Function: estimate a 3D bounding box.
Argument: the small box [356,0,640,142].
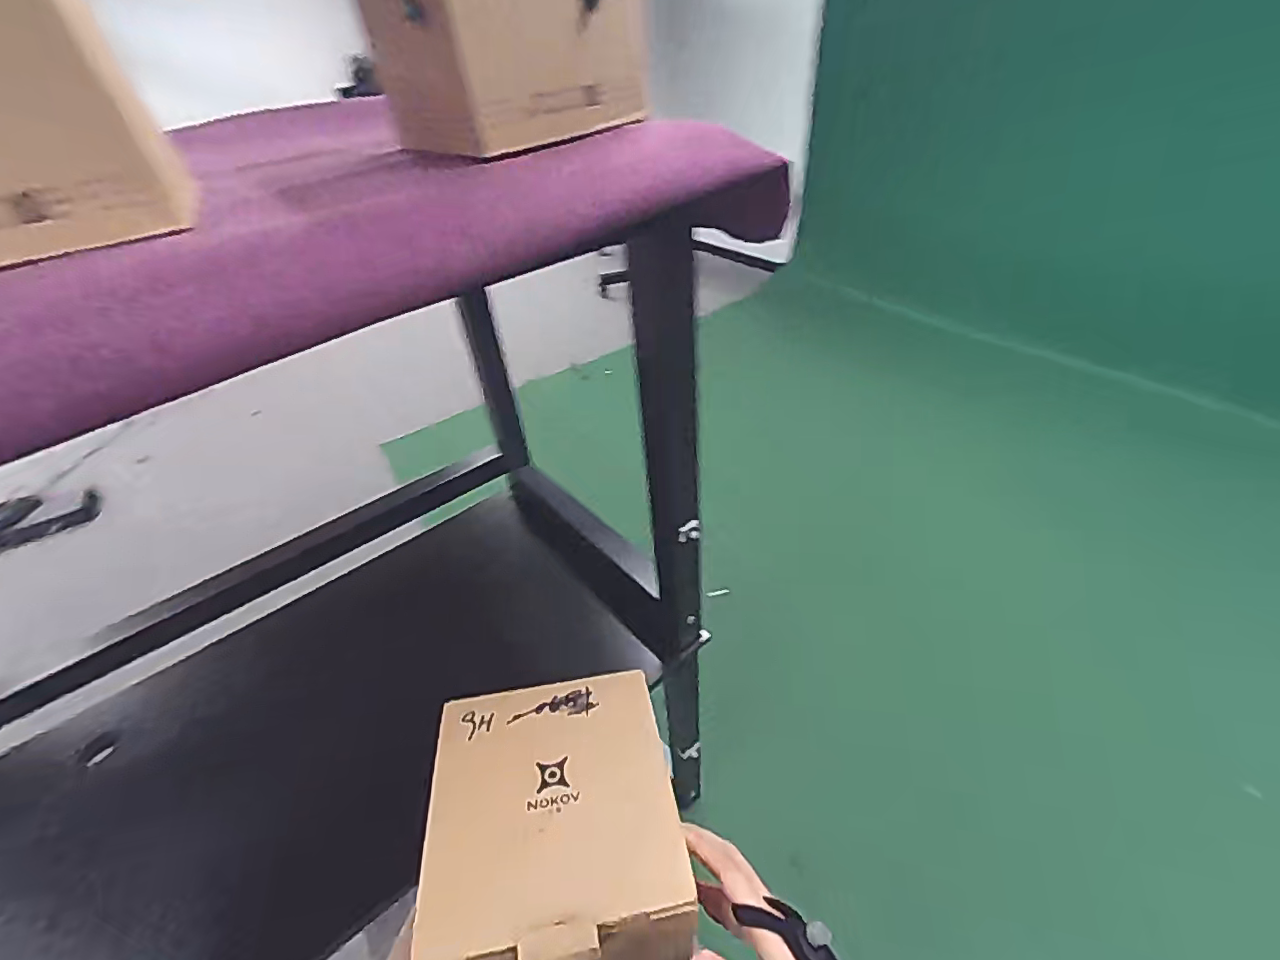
[{"bbox_3d":[-0.116,-0.383,0.435,0.168,0.176,0.179,-32,45,-27],"label":"small box"}]

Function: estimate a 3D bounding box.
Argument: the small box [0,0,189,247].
[{"bbox_3d":[-0.375,-0.222,0.280,0.168,0.176,0.179,-26,43,-22],"label":"small box"}]
